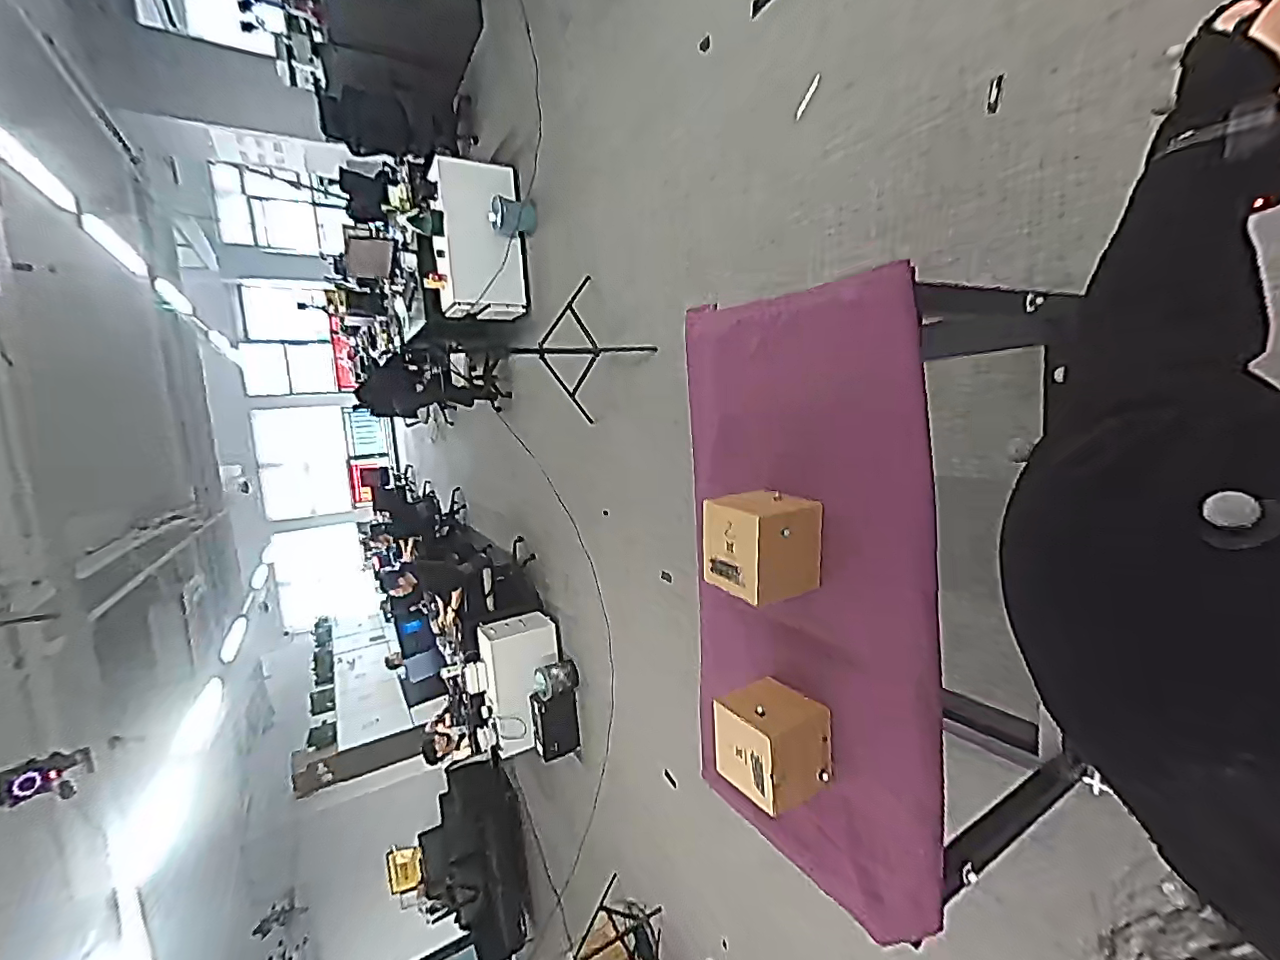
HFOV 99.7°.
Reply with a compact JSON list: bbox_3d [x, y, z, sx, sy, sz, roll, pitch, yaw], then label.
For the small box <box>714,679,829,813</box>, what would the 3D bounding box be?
[{"bbox_3d":[0.279,0.545,1.137,0.179,0.176,0.168,9,104,59],"label":"small box"}]
